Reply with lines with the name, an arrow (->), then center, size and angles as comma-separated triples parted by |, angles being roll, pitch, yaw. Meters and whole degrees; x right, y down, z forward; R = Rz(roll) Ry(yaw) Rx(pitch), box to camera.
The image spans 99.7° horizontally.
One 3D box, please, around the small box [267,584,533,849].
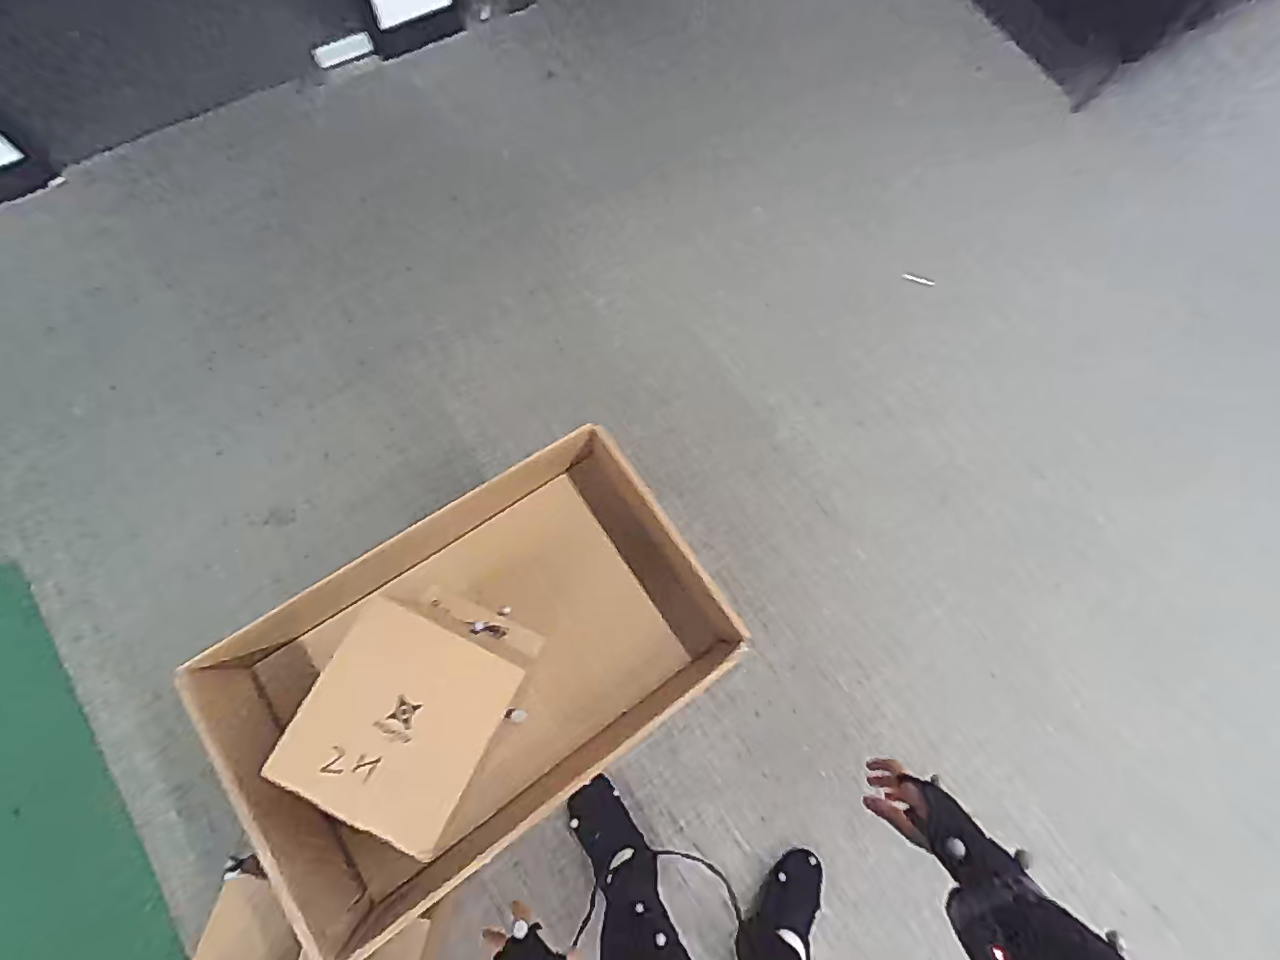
small box -> -0.224, 0.229, 0.566 | 0.168, 0.176, 0.179 | 27, 74, 3
